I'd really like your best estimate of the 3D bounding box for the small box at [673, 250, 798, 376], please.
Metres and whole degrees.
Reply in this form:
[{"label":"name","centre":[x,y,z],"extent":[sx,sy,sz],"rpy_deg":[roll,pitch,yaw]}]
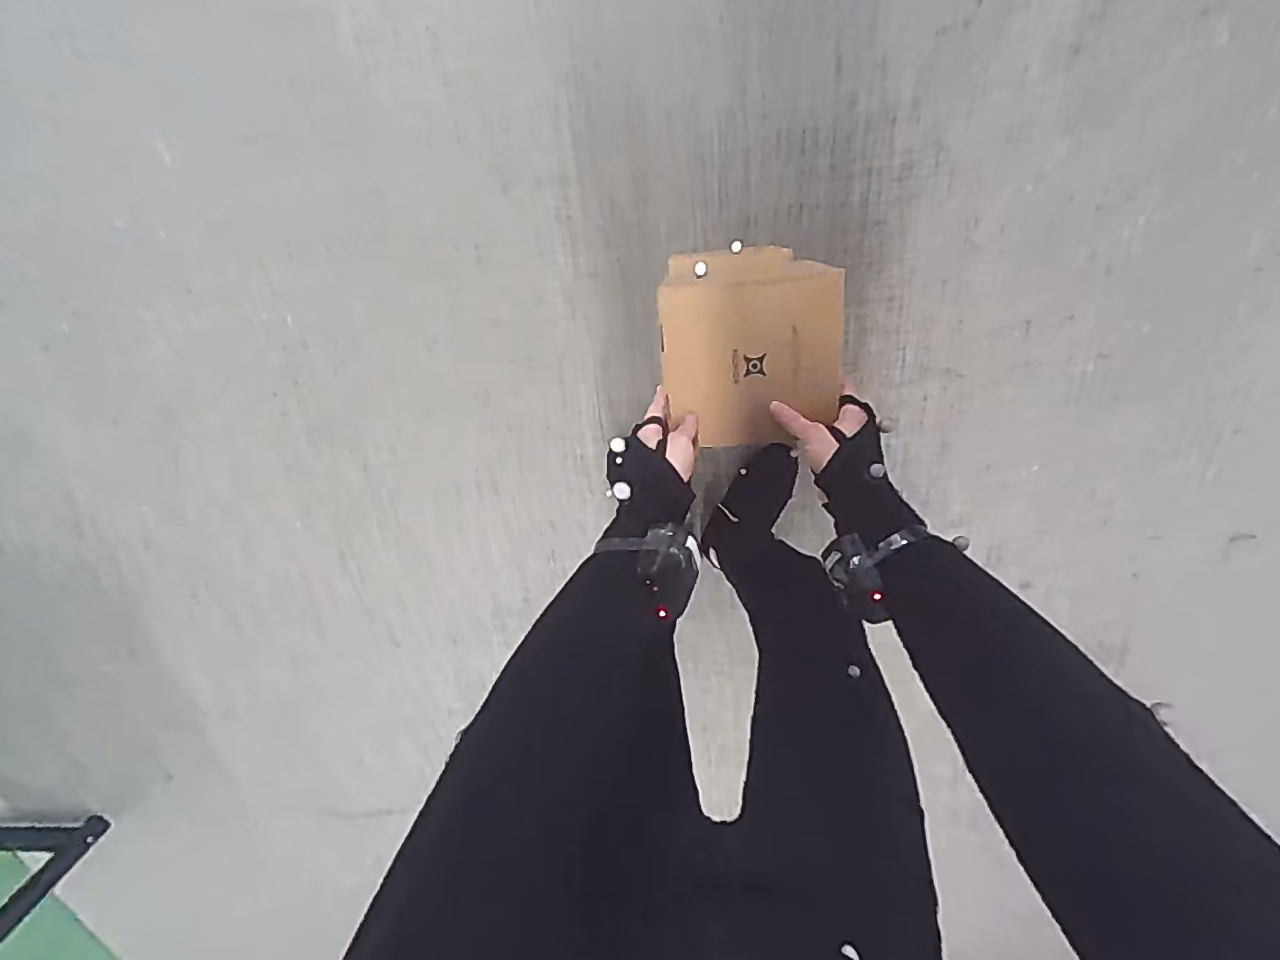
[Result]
[{"label":"small box","centre":[0.145,-0.271,0.864],"extent":[0.179,0.176,0.168],"rpy_deg":[-3,114,5]}]
